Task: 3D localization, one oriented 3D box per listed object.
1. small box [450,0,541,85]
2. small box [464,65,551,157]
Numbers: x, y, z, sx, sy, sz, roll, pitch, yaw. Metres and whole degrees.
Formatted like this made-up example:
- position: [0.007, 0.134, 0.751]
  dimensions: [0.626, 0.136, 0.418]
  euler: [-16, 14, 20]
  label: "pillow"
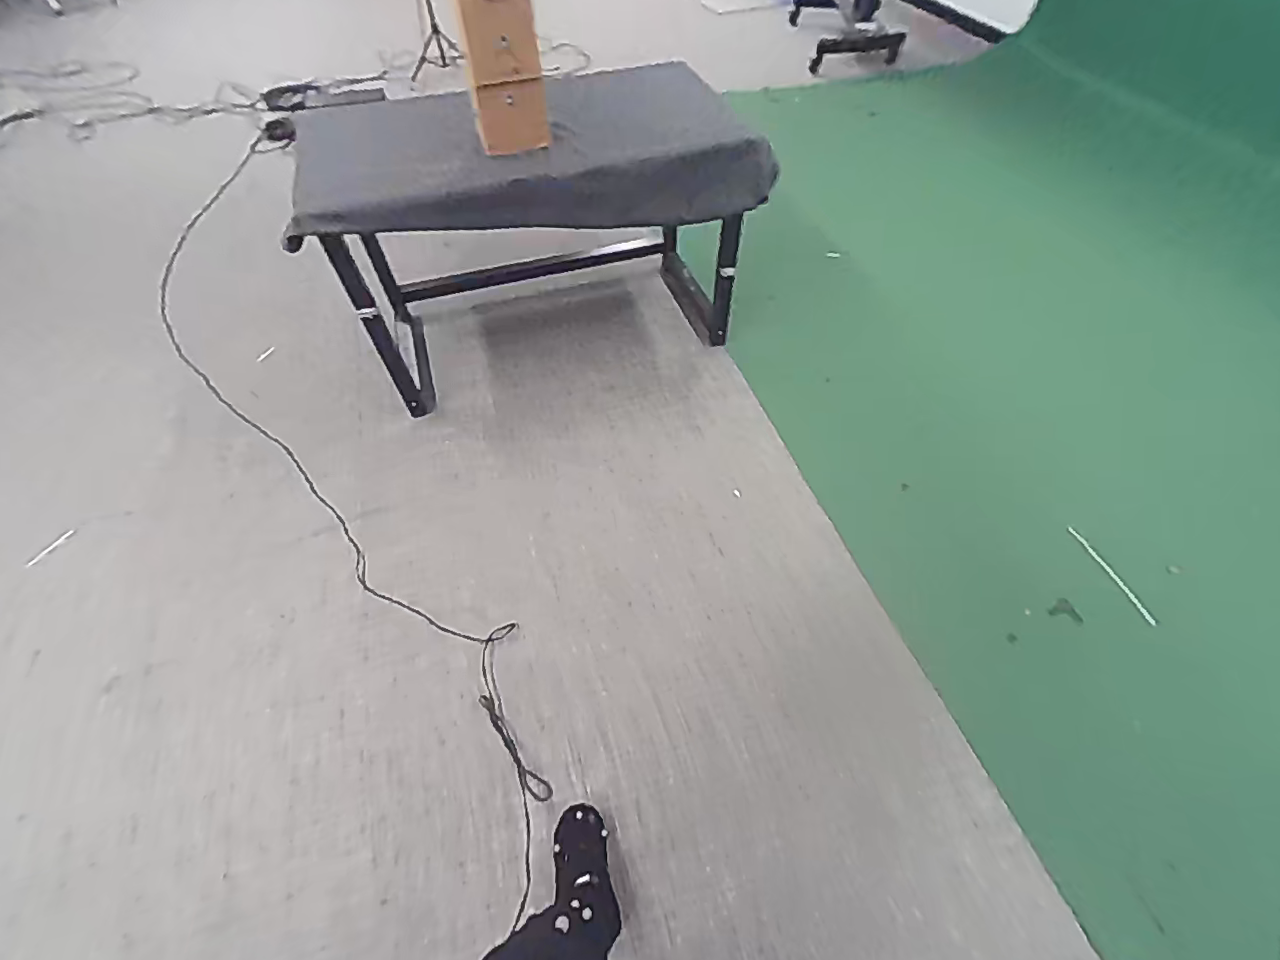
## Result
- position: [-0.341, -1.060, 1.278]
  dimensions: [0.168, 0.176, 0.179]
  euler: [-17, 57, -11]
  label: "small box"
- position: [-0.342, -0.970, 1.415]
  dimensions: [0.179, 0.176, 0.168]
  euler: [-16, 57, -12]
  label: "small box"
